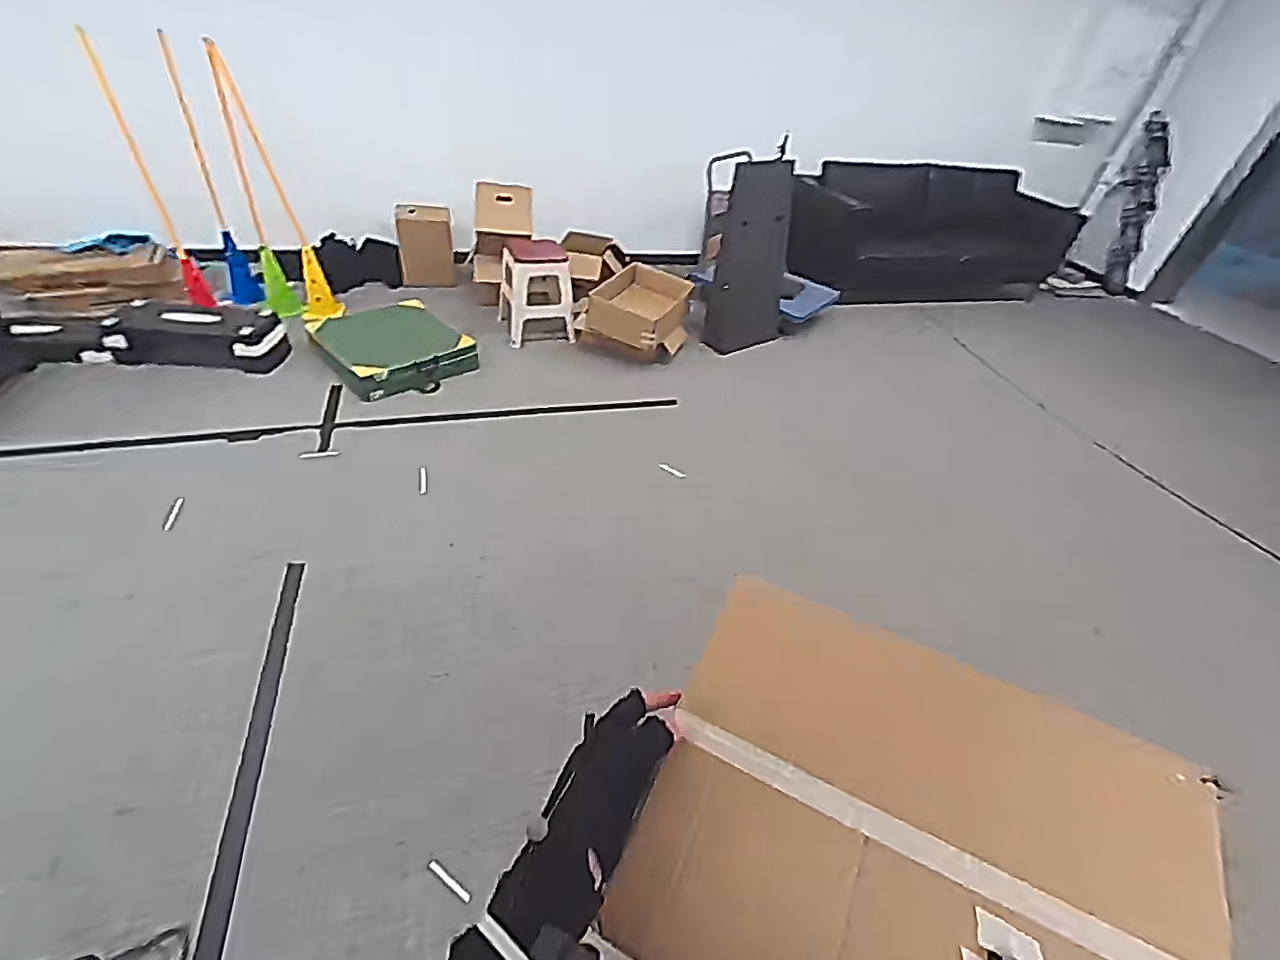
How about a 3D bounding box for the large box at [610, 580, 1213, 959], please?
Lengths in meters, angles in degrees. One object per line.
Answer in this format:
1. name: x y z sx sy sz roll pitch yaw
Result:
1. large box: 0.220 0.365 0.551 0.408 0.320 0.320 22 60 16
